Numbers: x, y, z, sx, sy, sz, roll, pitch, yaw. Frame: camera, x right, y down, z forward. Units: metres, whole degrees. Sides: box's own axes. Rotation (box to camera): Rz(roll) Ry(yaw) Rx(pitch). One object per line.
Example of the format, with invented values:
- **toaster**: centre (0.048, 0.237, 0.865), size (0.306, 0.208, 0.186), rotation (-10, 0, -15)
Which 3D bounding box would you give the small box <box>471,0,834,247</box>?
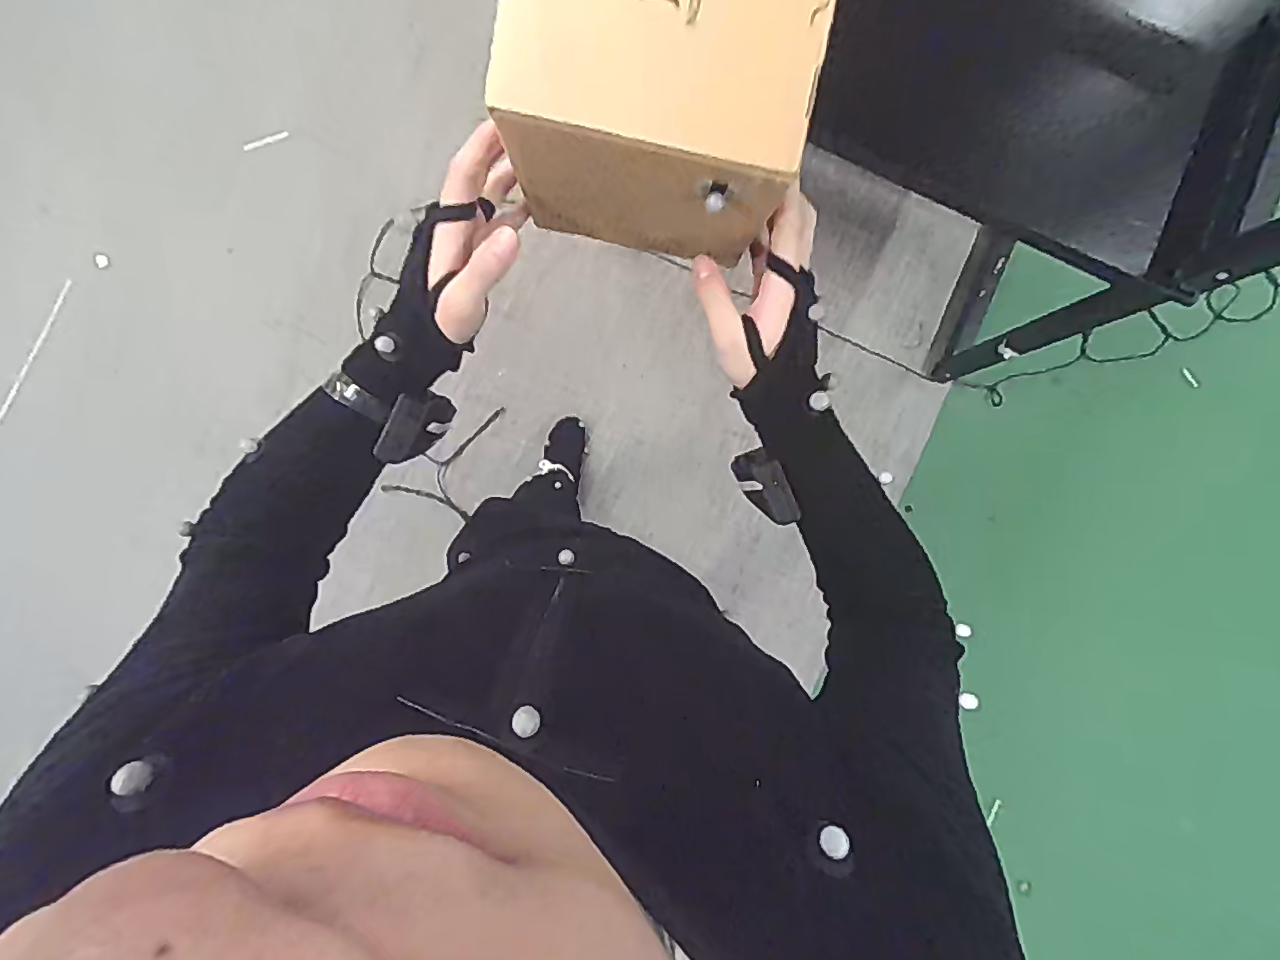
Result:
- **small box**: centre (0.011, -0.271, 0.348), size (0.179, 0.176, 0.168), rotation (10, 95, -4)
